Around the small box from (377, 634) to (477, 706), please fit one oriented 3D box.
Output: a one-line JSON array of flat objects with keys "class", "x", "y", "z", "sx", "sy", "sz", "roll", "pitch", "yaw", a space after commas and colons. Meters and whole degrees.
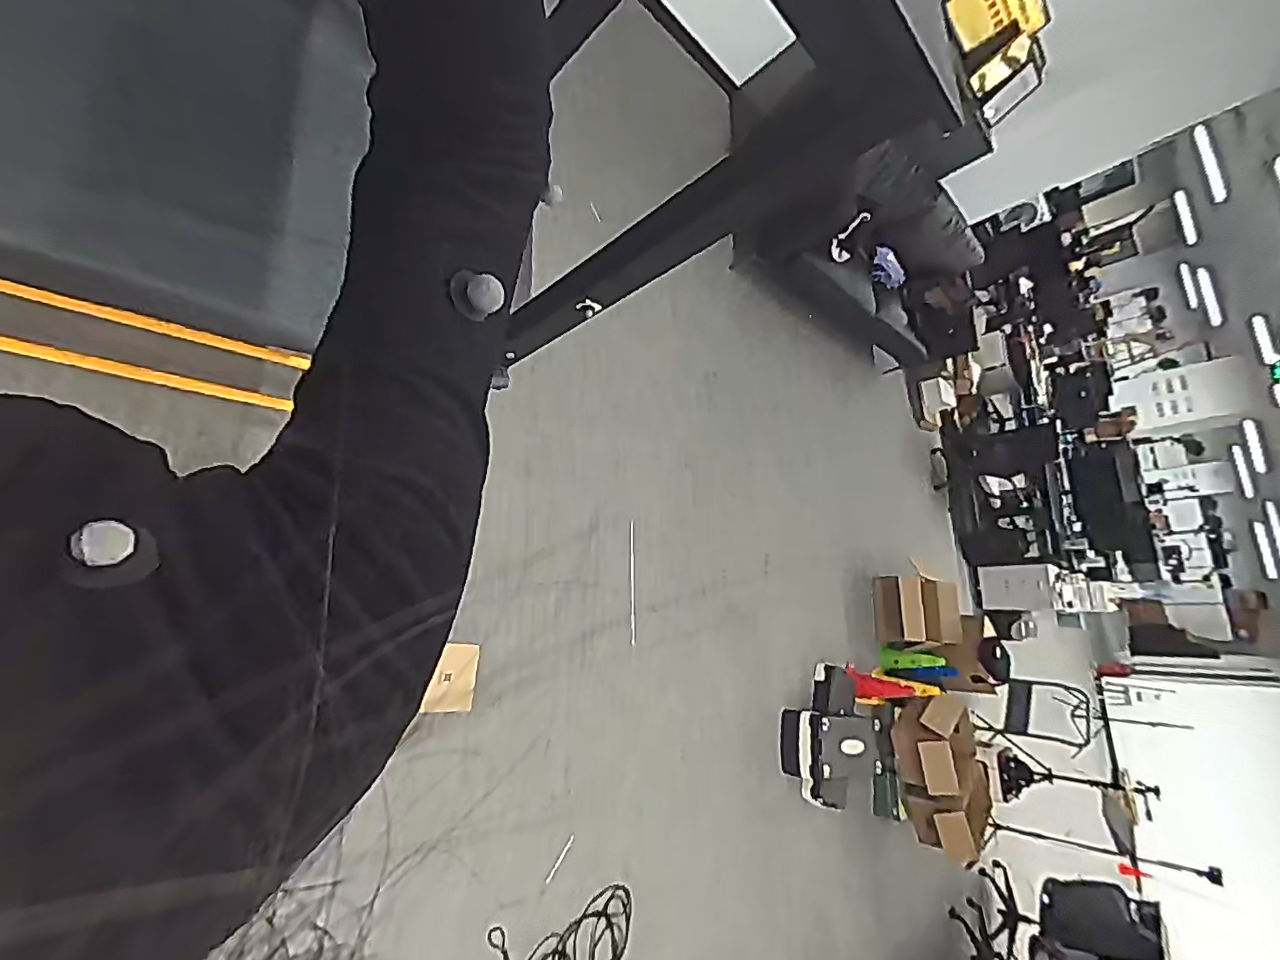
[{"class": "small box", "x": -0.558, "y": 0.496, "z": 1.419, "sx": 0.179, "sy": 0.176, "sz": 0.168, "roll": 20, "pitch": 66, "yaw": -41}]
